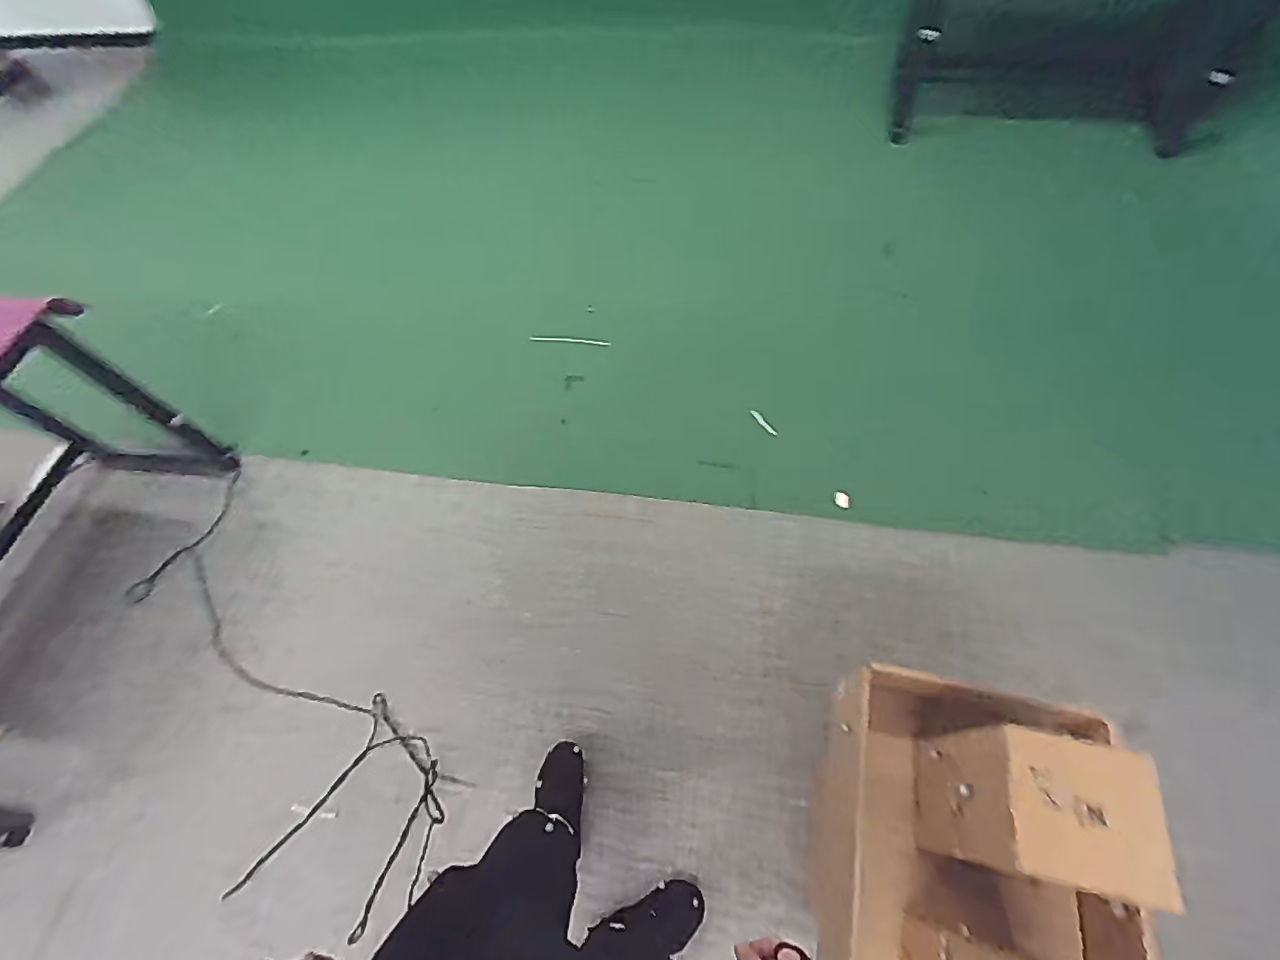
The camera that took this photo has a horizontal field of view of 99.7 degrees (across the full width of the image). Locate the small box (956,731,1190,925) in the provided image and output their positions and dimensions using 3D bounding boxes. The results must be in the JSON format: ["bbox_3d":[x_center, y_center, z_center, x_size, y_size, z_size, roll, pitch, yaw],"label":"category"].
[{"bbox_3d":[0.551,0.448,0.719,0.179,0.176,0.168,10,61,10],"label":"small box"}]

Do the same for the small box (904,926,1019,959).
[{"bbox_3d":[0.480,0.753,0.742,0.179,0.176,0.168,11,62,12],"label":"small box"}]
